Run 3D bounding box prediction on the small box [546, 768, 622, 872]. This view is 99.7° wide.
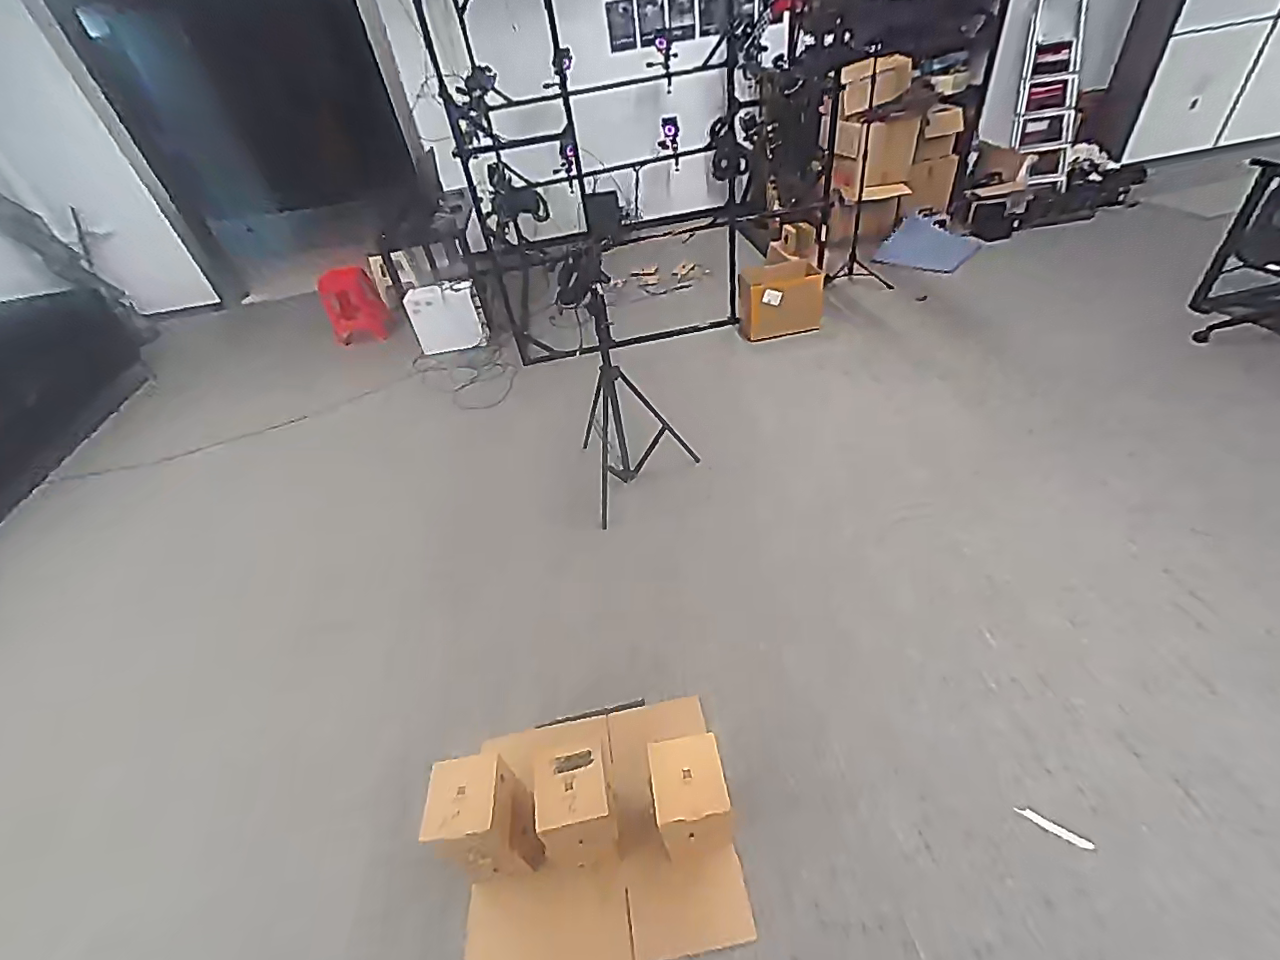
[{"bbox_3d":[-0.142,0.880,1.401,0.168,0.176,0.179,-9,41,1],"label":"small box"}]

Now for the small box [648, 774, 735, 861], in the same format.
[{"bbox_3d":[0.135,0.842,1.389,0.179,0.176,0.168,-17,42,-8],"label":"small box"}]

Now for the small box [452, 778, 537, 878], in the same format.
[{"bbox_3d":[-0.370,0.912,1.409,0.168,0.176,0.179,-10,41,0],"label":"small box"}]

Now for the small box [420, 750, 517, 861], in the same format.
[{"bbox_3d":[-0.404,0.787,1.307,0.168,0.176,0.179,-10,41,1],"label":"small box"}]

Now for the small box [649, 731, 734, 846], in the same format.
[{"bbox_3d":[0.119,0.727,1.274,0.168,0.176,0.179,-11,41,-1],"label":"small box"}]
